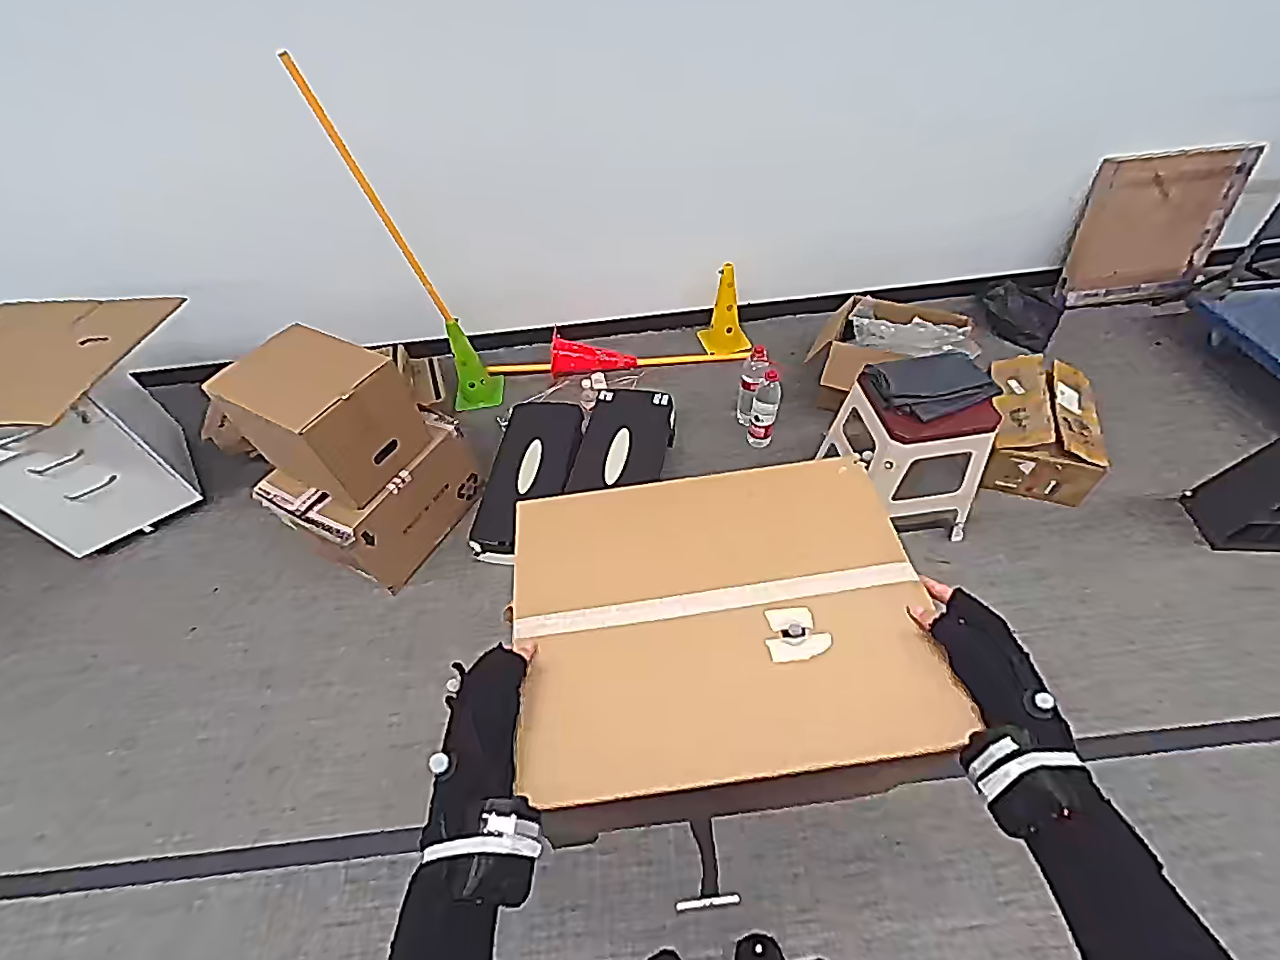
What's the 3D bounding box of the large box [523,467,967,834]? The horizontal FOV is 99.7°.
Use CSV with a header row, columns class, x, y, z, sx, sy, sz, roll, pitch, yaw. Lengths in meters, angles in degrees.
class,x,y,z,sx,sy,sz,roll,pitch,yaw
large box,0.085,0.222,0.679,0.408,0.320,0.320,-8,54,-1
